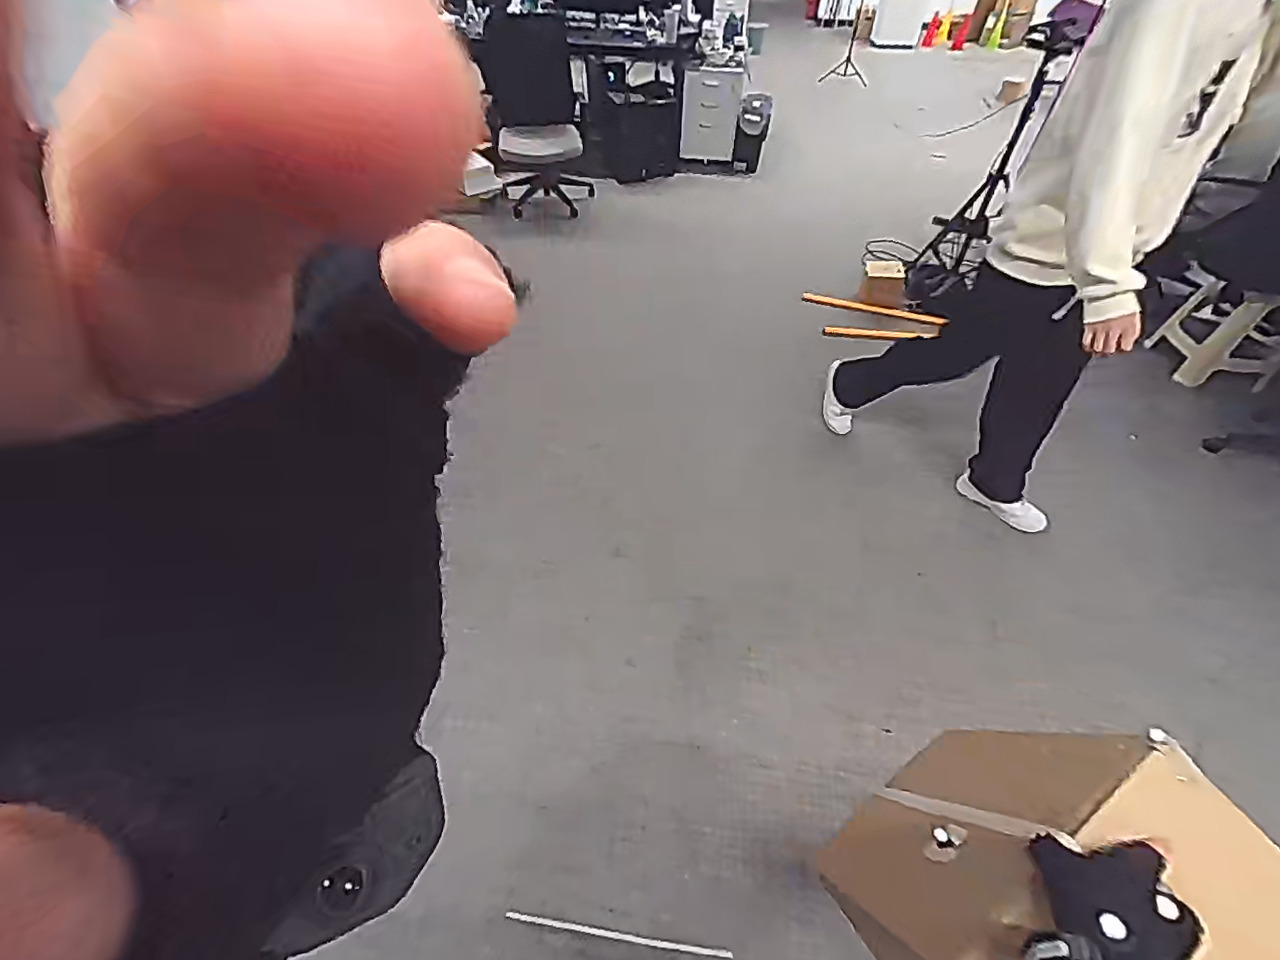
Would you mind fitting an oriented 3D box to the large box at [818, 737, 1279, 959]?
[{"bbox_3d":[0.476,0.527,0.612,0.320,0.408,0.320,-33,71,-14],"label":"large box"}]
